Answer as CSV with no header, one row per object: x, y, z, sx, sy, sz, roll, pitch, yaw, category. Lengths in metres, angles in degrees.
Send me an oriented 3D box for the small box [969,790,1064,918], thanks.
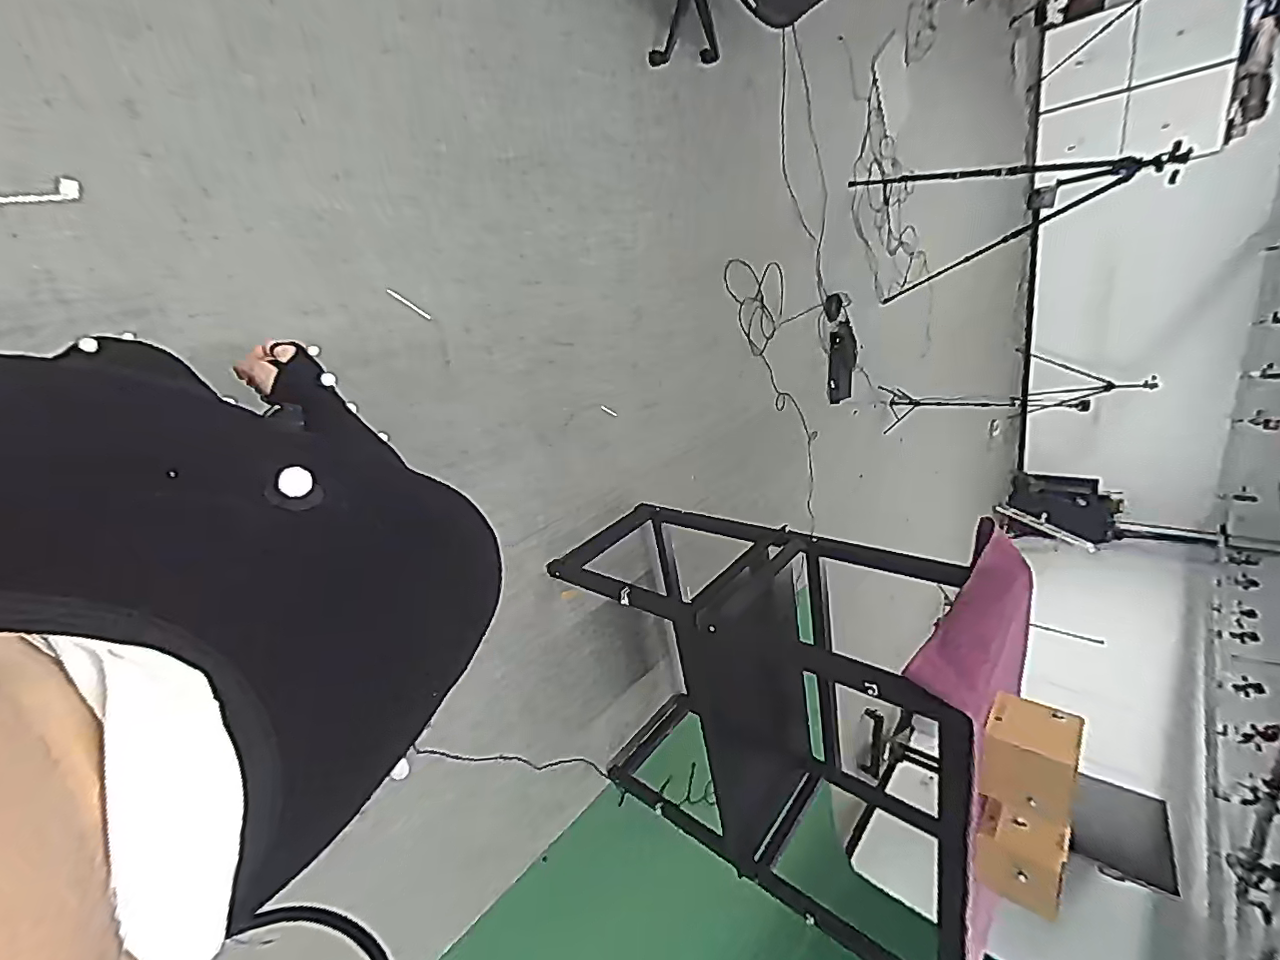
0.928,0.907,1.338,0.168,0.176,0.179,-27,115,-41,small box
